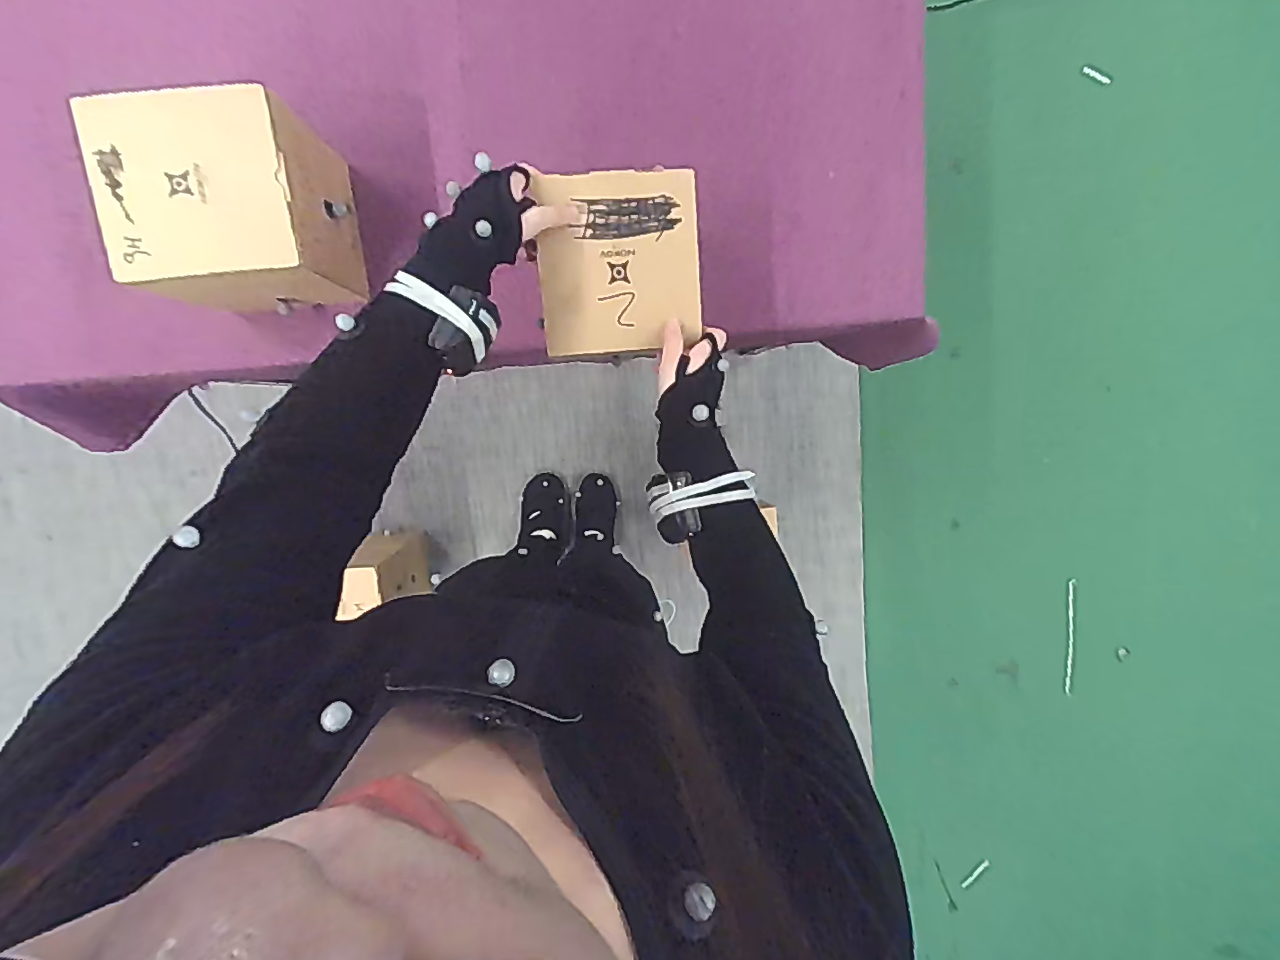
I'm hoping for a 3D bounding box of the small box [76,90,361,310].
[{"bbox_3d":[-0.429,-0.289,0.591,0.179,0.176,0.168,-7,98,-5],"label":"small box"}]

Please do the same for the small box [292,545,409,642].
[{"bbox_3d":[-0.646,0.249,1.223,0.179,0.176,0.168,-3,99,-5],"label":"small box"}]

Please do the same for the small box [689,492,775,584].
[{"bbox_3d":[0.215,0.132,1.290,0.168,0.176,0.179,-5,98,-6],"label":"small box"}]

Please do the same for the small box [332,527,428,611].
[{"bbox_3d":[-0.657,0.228,1.386,0.168,0.176,0.179,-4,98,-5],"label":"small box"}]

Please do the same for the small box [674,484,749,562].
[{"bbox_3d":[0.191,0.110,1.450,0.179,0.176,0.168,-7,99,-5],"label":"small box"}]
